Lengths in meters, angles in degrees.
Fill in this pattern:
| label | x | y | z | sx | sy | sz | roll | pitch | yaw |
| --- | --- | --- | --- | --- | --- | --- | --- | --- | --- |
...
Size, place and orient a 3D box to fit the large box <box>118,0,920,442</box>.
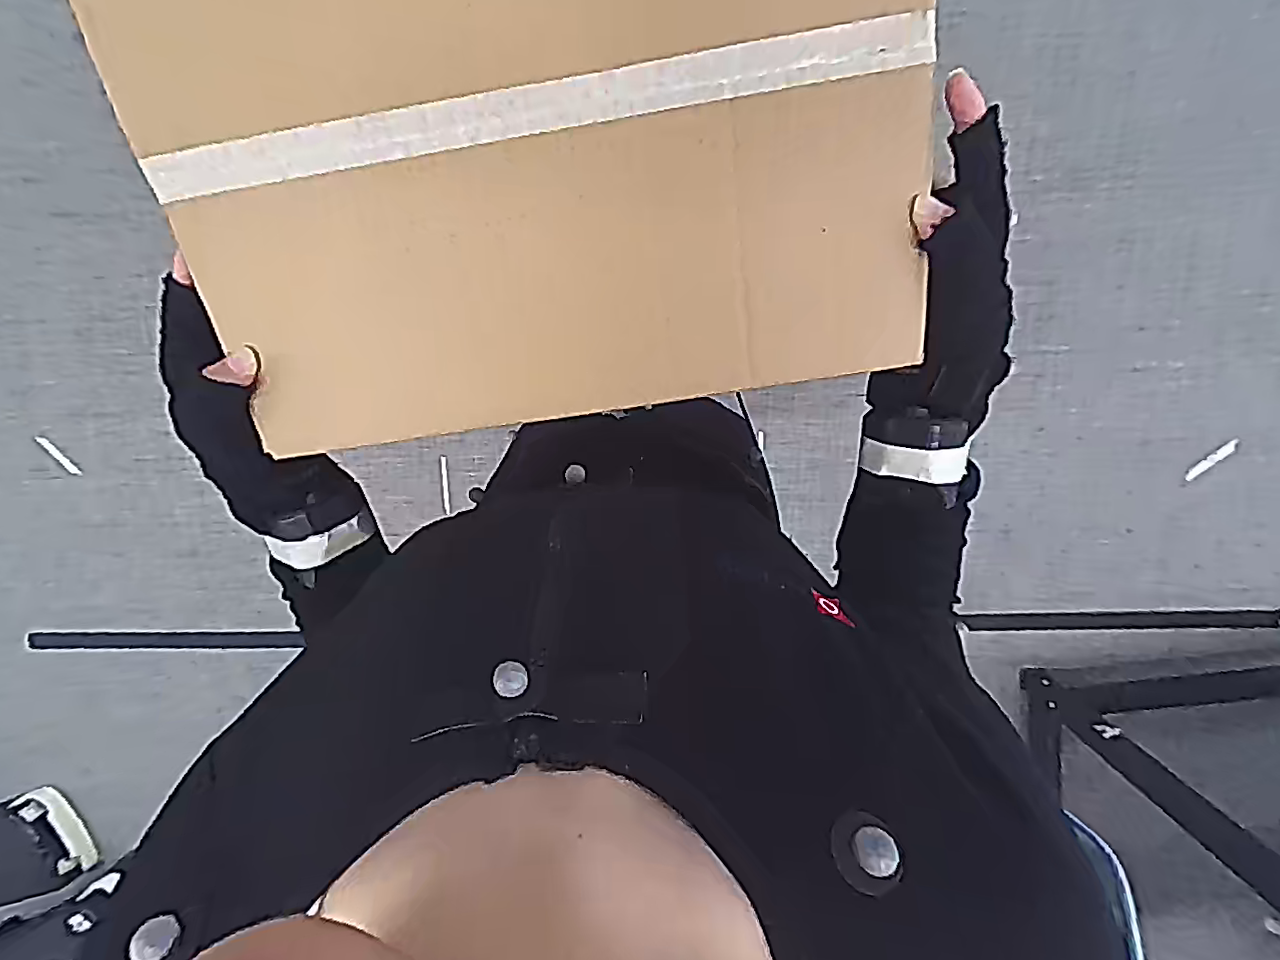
| label | x | y | z | sx | sy | sz | roll | pitch | yaw |
| --- | --- | --- | --- | --- | --- | --- | --- | --- | --- |
| large box | -0.054 | -0.245 | 0.426 | 0.408 | 0.320 | 0.320 | -8 | 111 | 3 |
